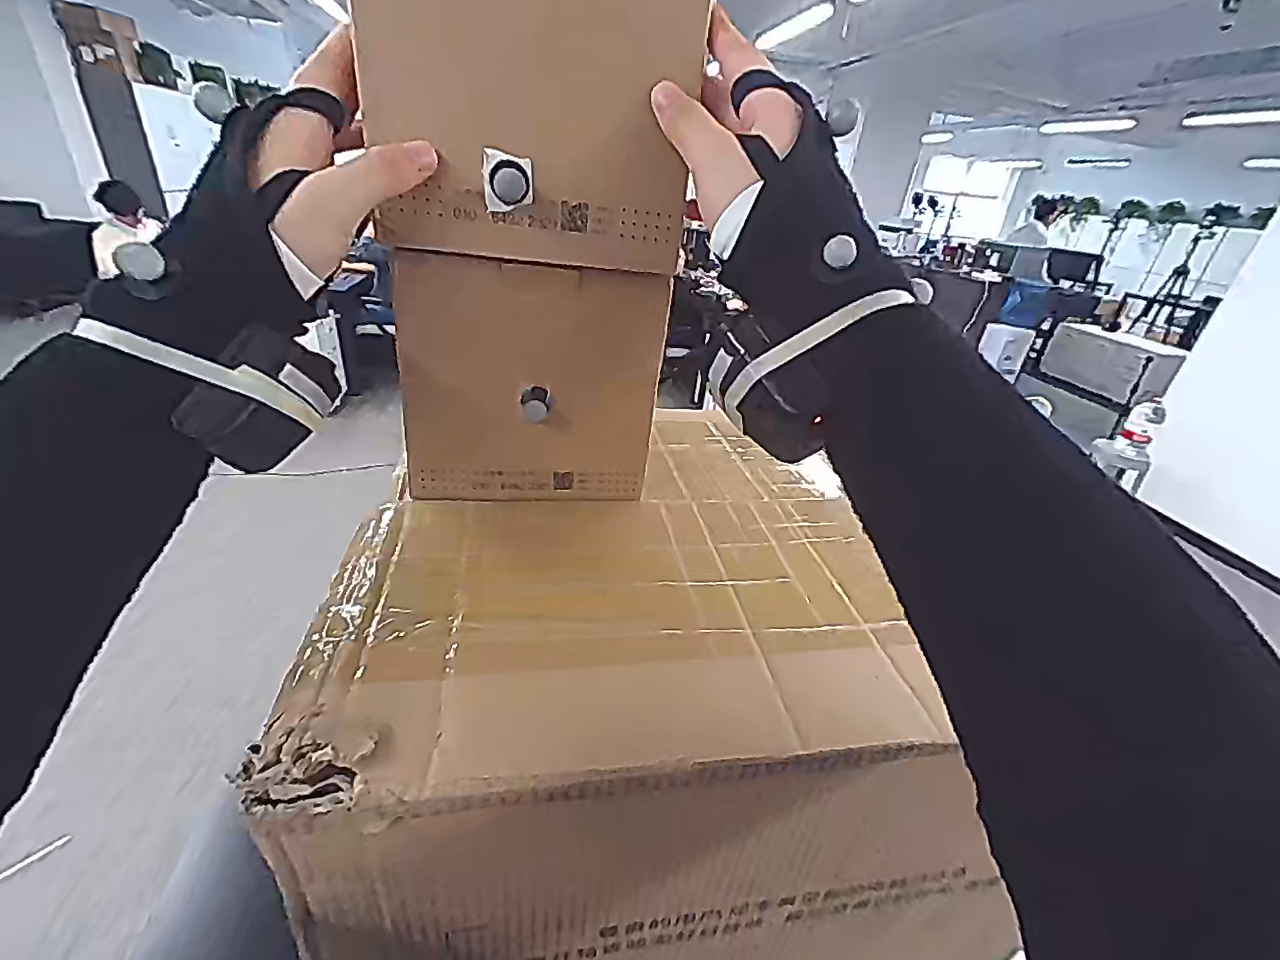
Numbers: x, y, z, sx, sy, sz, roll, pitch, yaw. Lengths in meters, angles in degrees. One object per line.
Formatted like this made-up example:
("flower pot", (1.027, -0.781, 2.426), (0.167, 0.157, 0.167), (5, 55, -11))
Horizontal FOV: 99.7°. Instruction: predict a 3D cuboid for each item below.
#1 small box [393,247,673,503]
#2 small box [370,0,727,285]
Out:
("small box", (-0.080, -0.093, 0.422), (0.168, 0.176, 0.179), (1, 29, -13))
("small box", (-0.057, -0.228, 0.331), (0.168, 0.176, 0.179), (0, 29, -11))
